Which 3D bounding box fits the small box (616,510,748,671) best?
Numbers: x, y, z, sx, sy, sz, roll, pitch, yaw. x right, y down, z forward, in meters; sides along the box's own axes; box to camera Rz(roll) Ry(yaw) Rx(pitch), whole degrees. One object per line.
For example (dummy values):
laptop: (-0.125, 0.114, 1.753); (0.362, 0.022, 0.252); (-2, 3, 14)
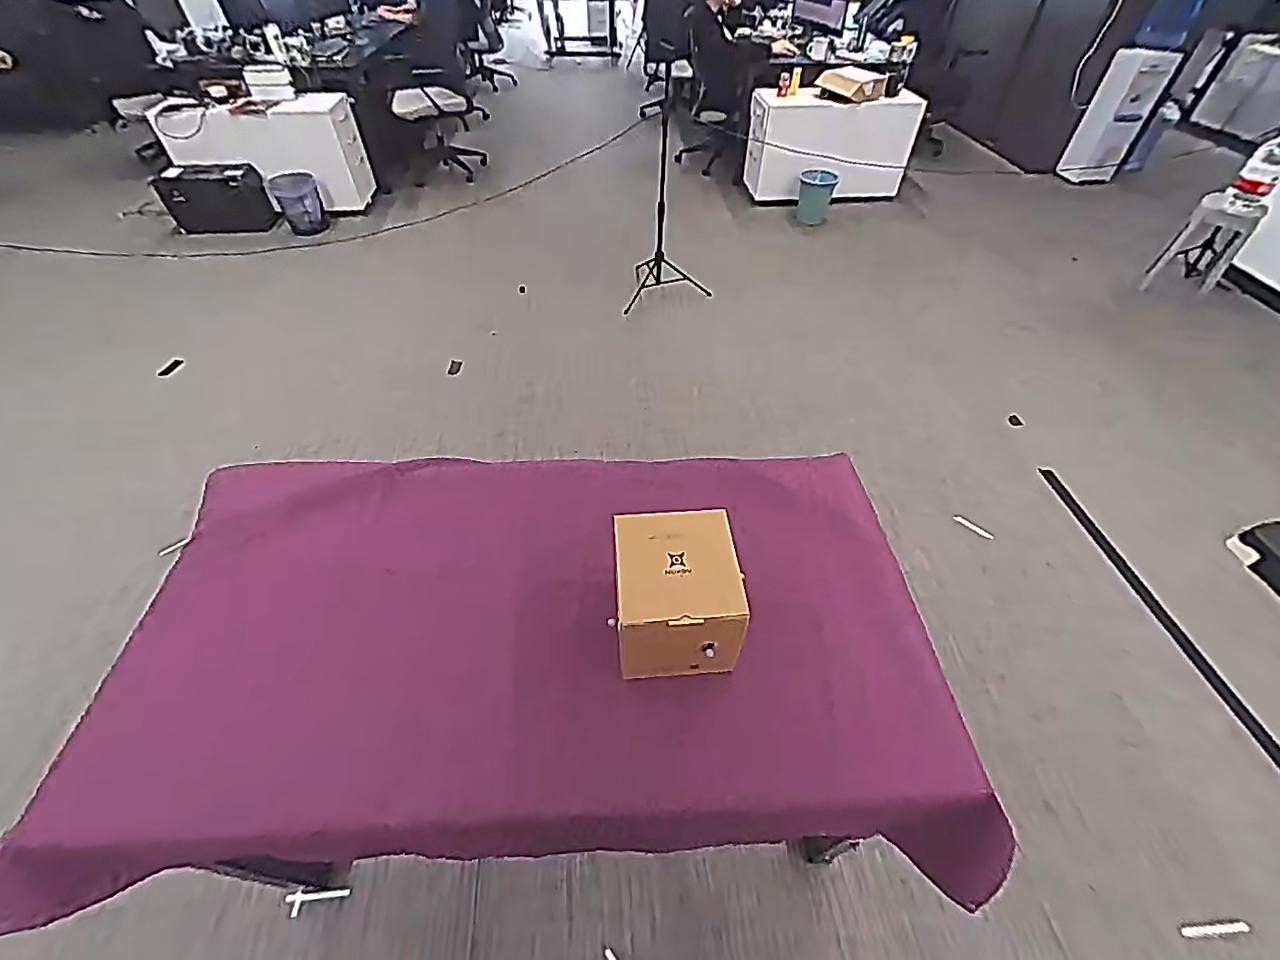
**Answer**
small box: (0.051, 0.165, 0.787); (0.168, 0.176, 0.179); (-2, 48, -3)
